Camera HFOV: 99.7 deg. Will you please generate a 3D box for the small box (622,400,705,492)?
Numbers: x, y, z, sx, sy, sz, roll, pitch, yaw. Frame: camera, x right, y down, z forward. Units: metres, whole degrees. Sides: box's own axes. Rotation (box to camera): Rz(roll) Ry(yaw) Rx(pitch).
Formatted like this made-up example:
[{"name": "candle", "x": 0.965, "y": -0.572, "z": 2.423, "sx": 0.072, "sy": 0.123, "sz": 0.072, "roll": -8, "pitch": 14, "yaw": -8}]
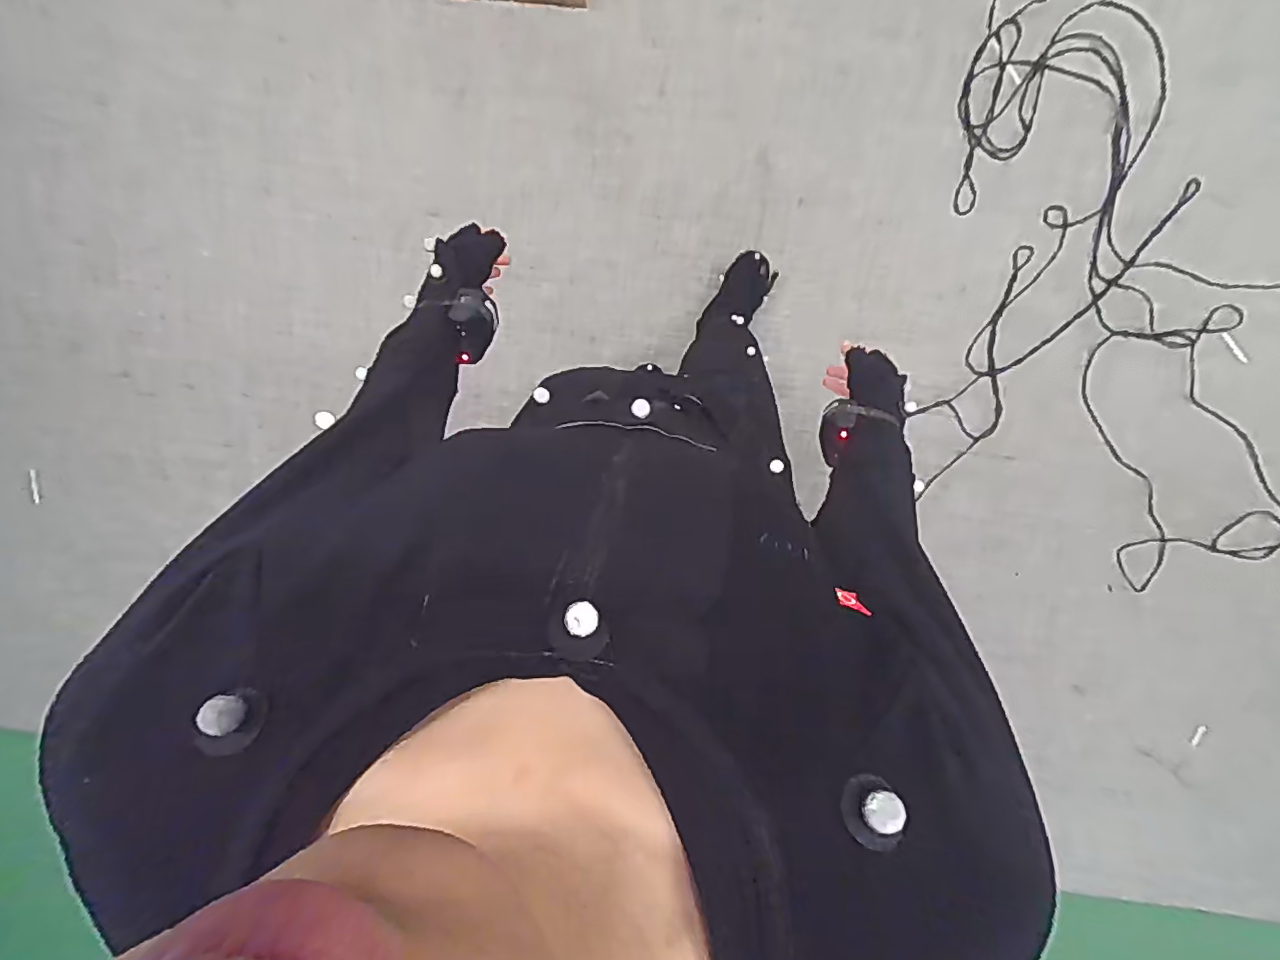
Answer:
[{"name": "small box", "x": 0.052, "y": -0.092, "z": 1.391, "sx": 0.168, "sy": 0.176, "sz": 0.179, "roll": 13, "pitch": 106, "yaw": -9}]
